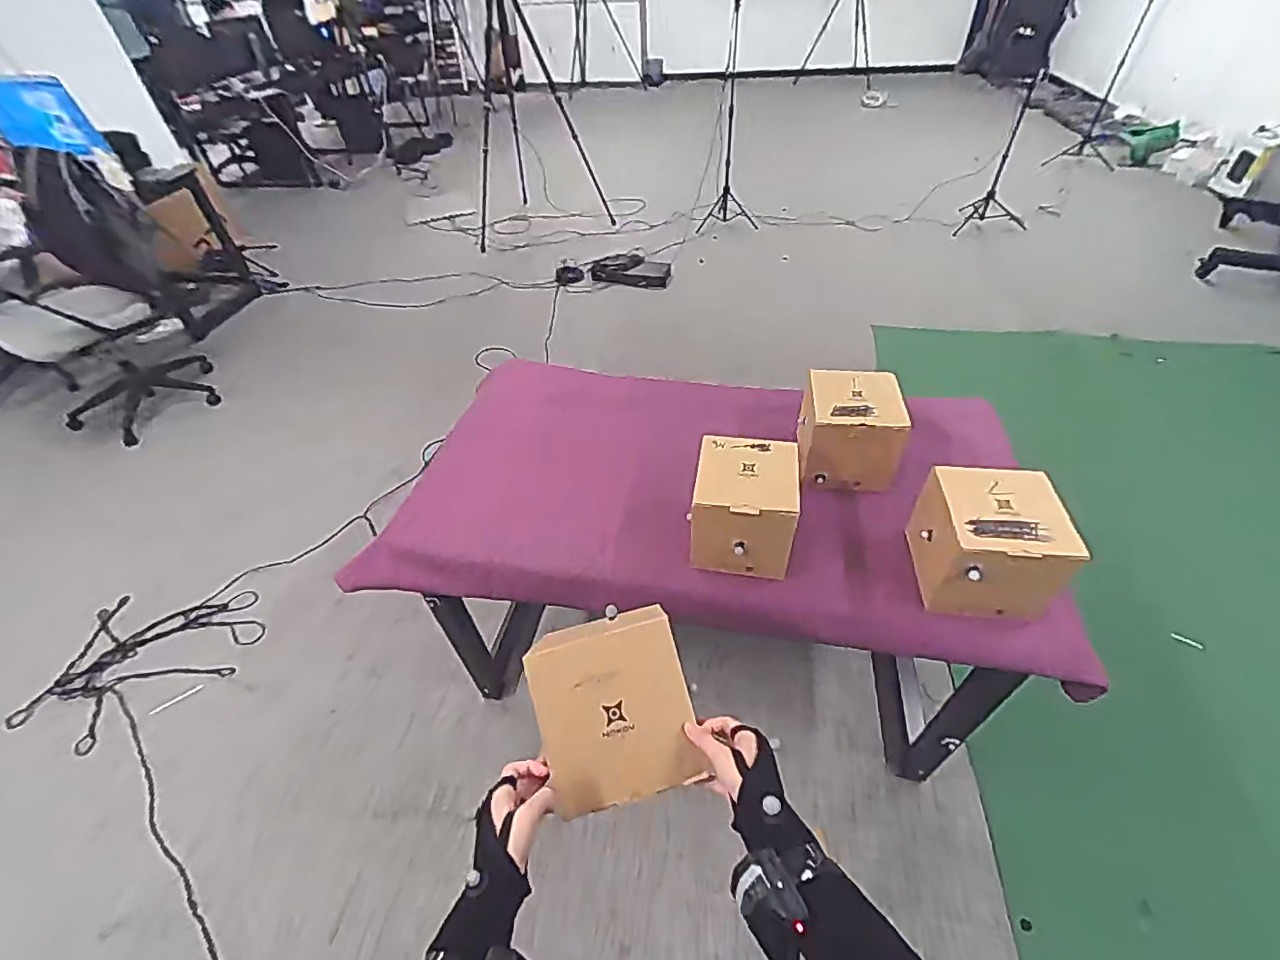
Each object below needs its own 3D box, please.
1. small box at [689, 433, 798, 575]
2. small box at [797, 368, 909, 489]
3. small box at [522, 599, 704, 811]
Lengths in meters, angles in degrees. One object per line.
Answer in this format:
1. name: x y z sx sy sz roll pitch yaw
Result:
1. small box: 0.178 0.043 0.938 0.168 0.176 0.179 7 45 10
2. small box: 0.410 -0.100 1.069 0.168 0.176 0.179 5 45 8
3. small box: -0.030 0.253 0.653 0.168 0.176 0.179 -14 82 -4
